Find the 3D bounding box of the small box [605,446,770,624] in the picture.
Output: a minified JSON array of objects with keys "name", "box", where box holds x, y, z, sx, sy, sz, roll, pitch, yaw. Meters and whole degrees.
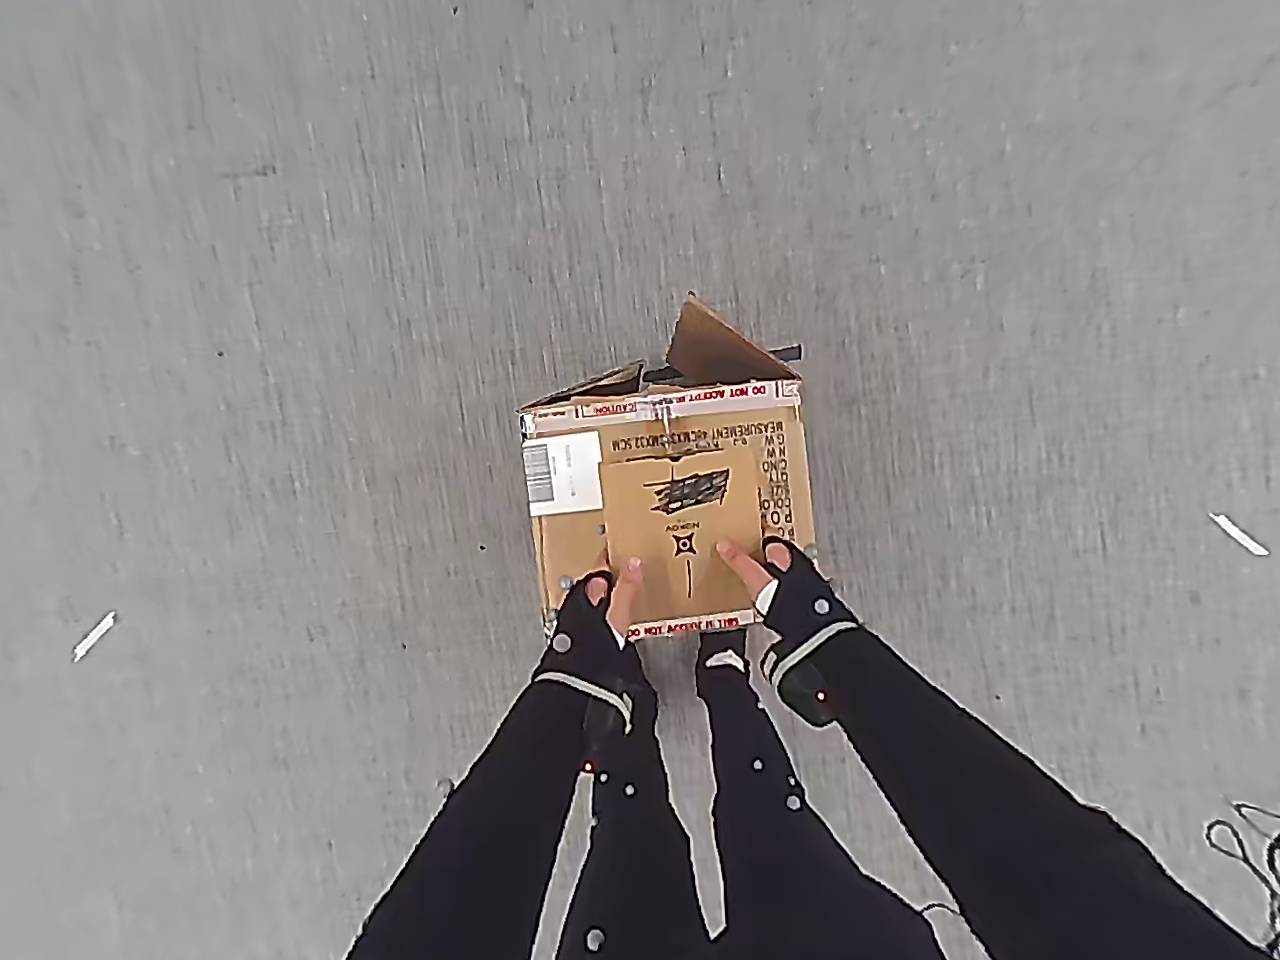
[{"name":"small box","box":[0.047,0.056,0.651,0.168,0.176,0.179,-7,93,-1]}]
